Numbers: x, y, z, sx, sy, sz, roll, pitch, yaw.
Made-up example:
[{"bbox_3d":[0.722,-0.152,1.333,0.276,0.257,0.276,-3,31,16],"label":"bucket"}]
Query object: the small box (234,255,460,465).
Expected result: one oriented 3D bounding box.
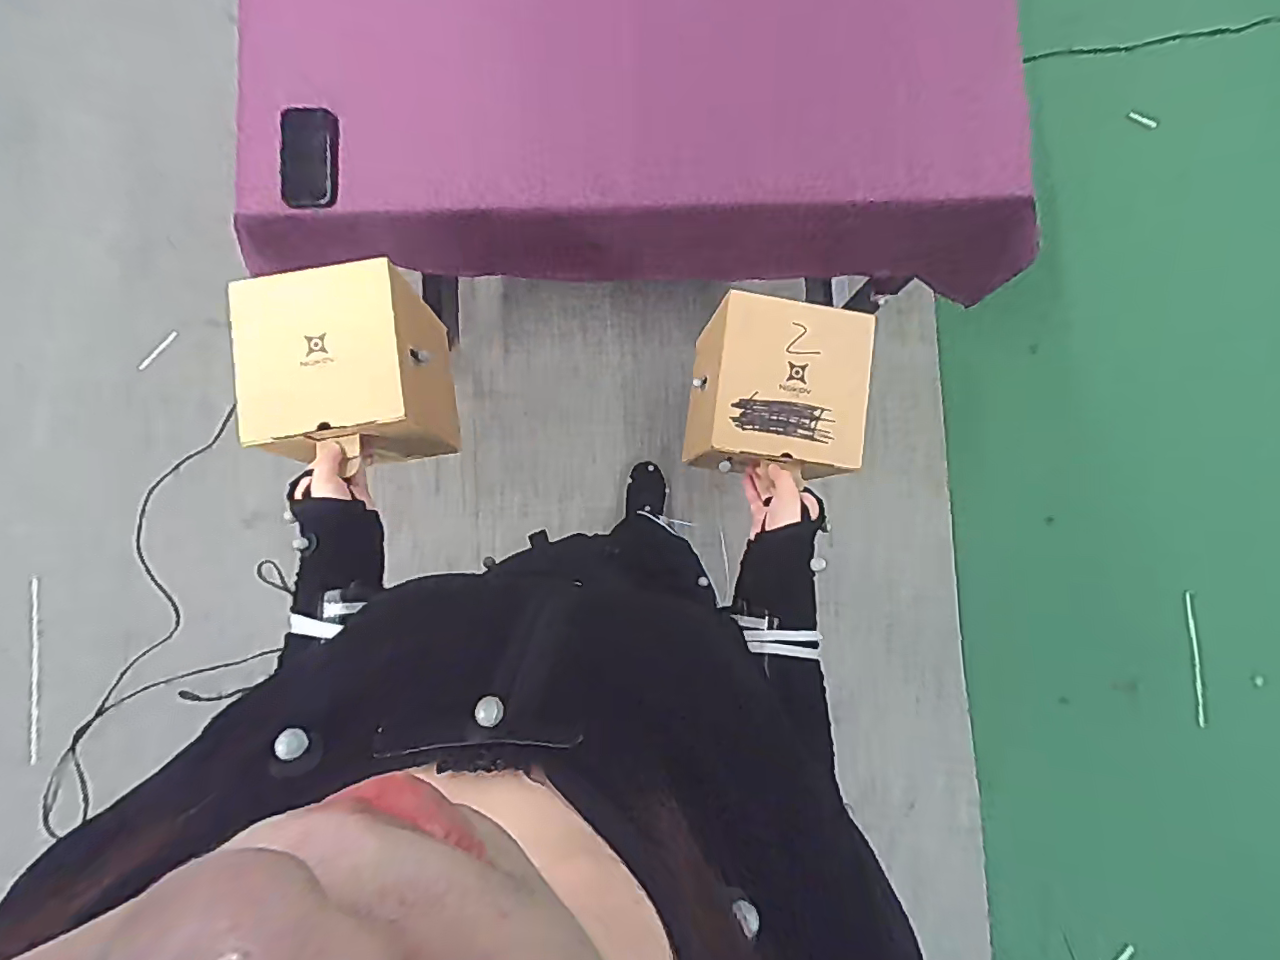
[{"bbox_3d":[-0.321,-0.125,0.621,0.168,0.176,0.179,-10,83,-2],"label":"small box"}]
